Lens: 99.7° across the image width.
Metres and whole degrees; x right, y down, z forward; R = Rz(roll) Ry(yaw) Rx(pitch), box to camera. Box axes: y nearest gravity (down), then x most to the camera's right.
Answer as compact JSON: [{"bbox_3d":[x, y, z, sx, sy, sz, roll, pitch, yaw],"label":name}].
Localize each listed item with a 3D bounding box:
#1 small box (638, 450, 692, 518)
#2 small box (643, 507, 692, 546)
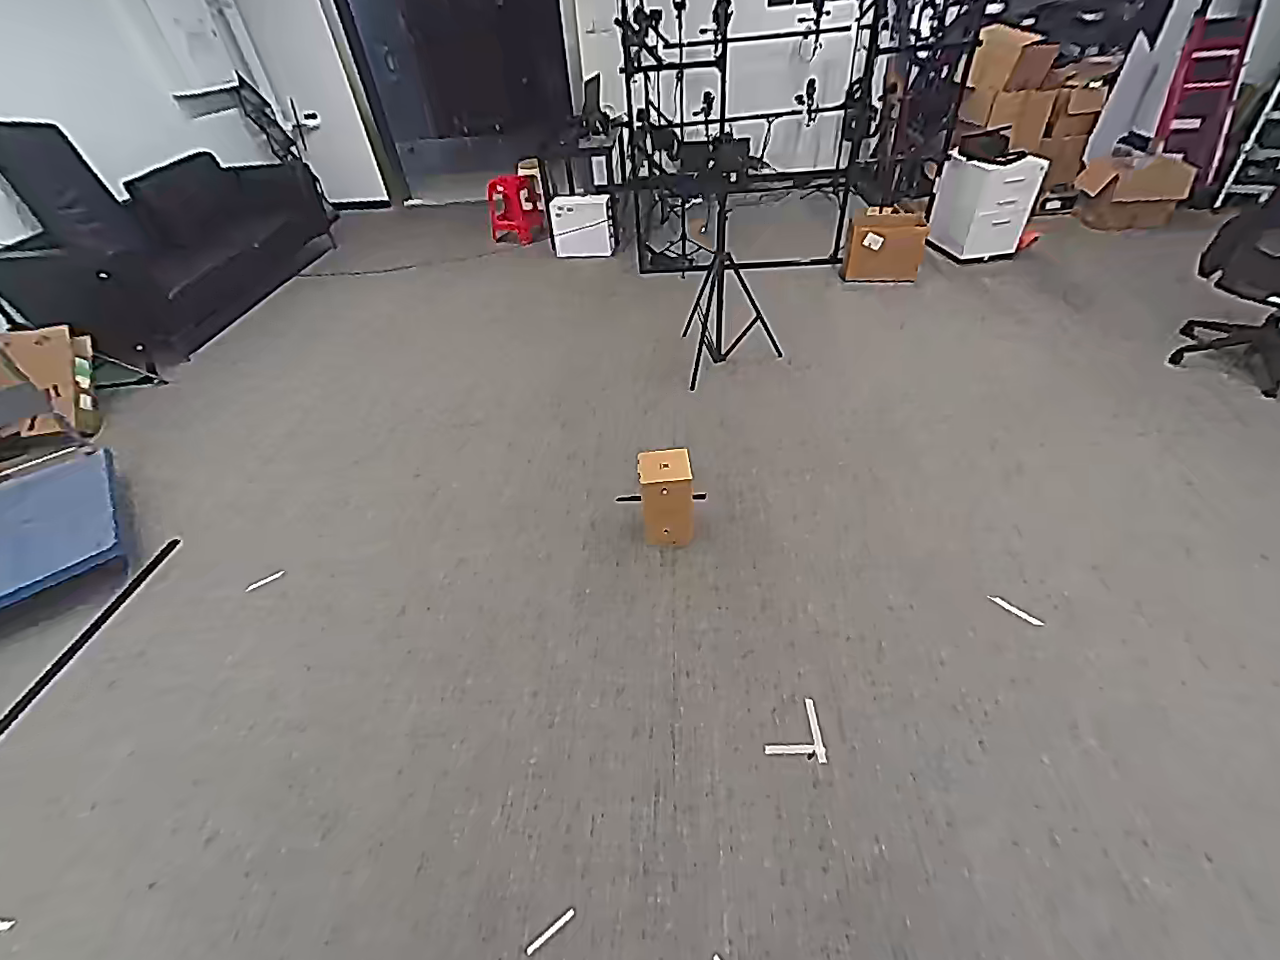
[{"bbox_3d":[0.088,0.015,1.905,0.179,0.176,0.168,-6,42,1],"label":"small box"},{"bbox_3d":[0.107,0.130,2.018,0.168,0.176,0.179,1,41,7],"label":"small box"}]
